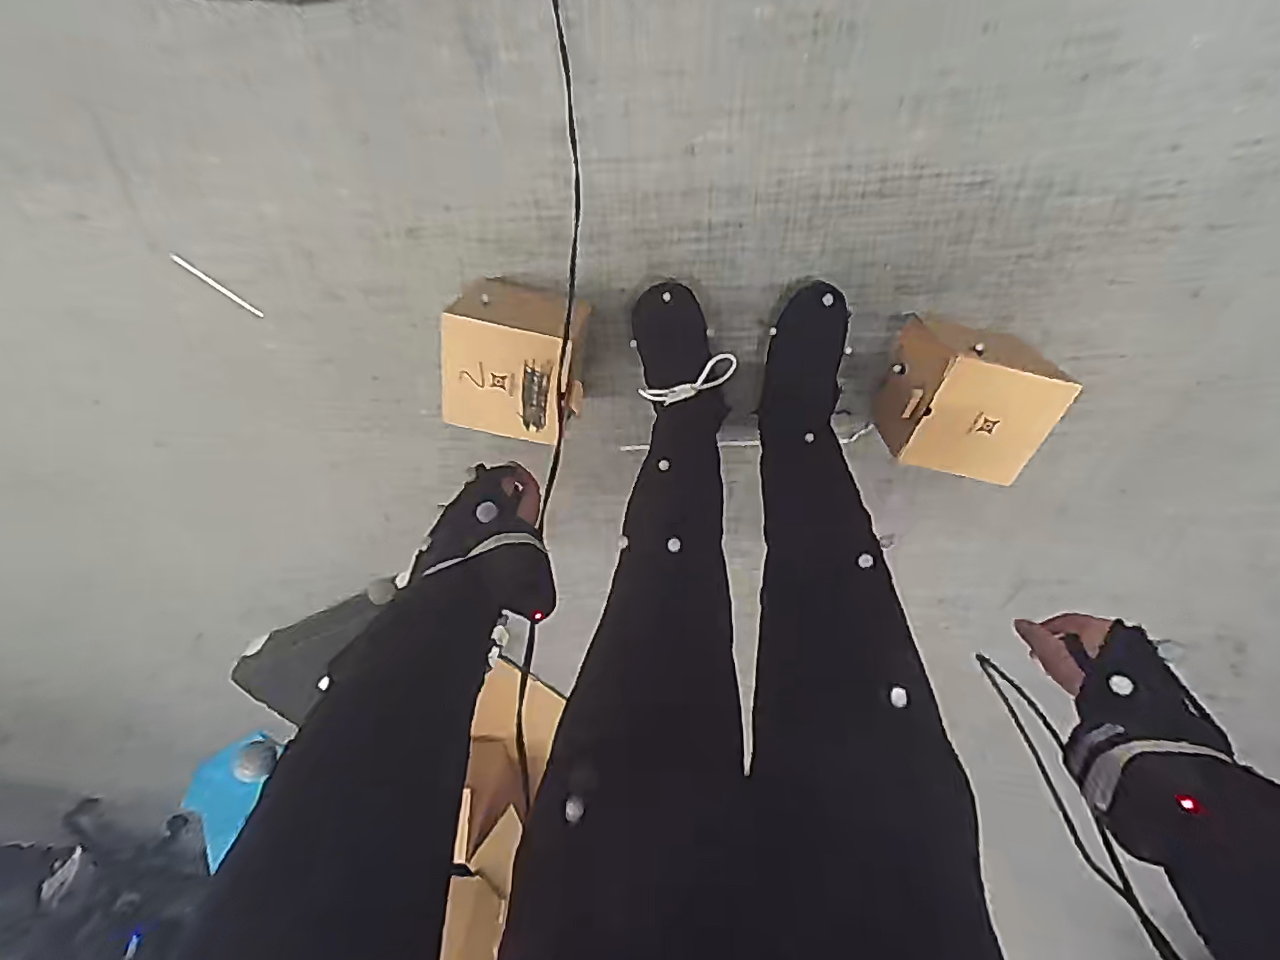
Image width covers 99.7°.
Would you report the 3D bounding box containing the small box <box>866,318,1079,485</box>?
[{"bbox_3d":[0.464,-0.120,0.789,0.179,0.176,0.168,12,125,-3],"label":"small box"}]
